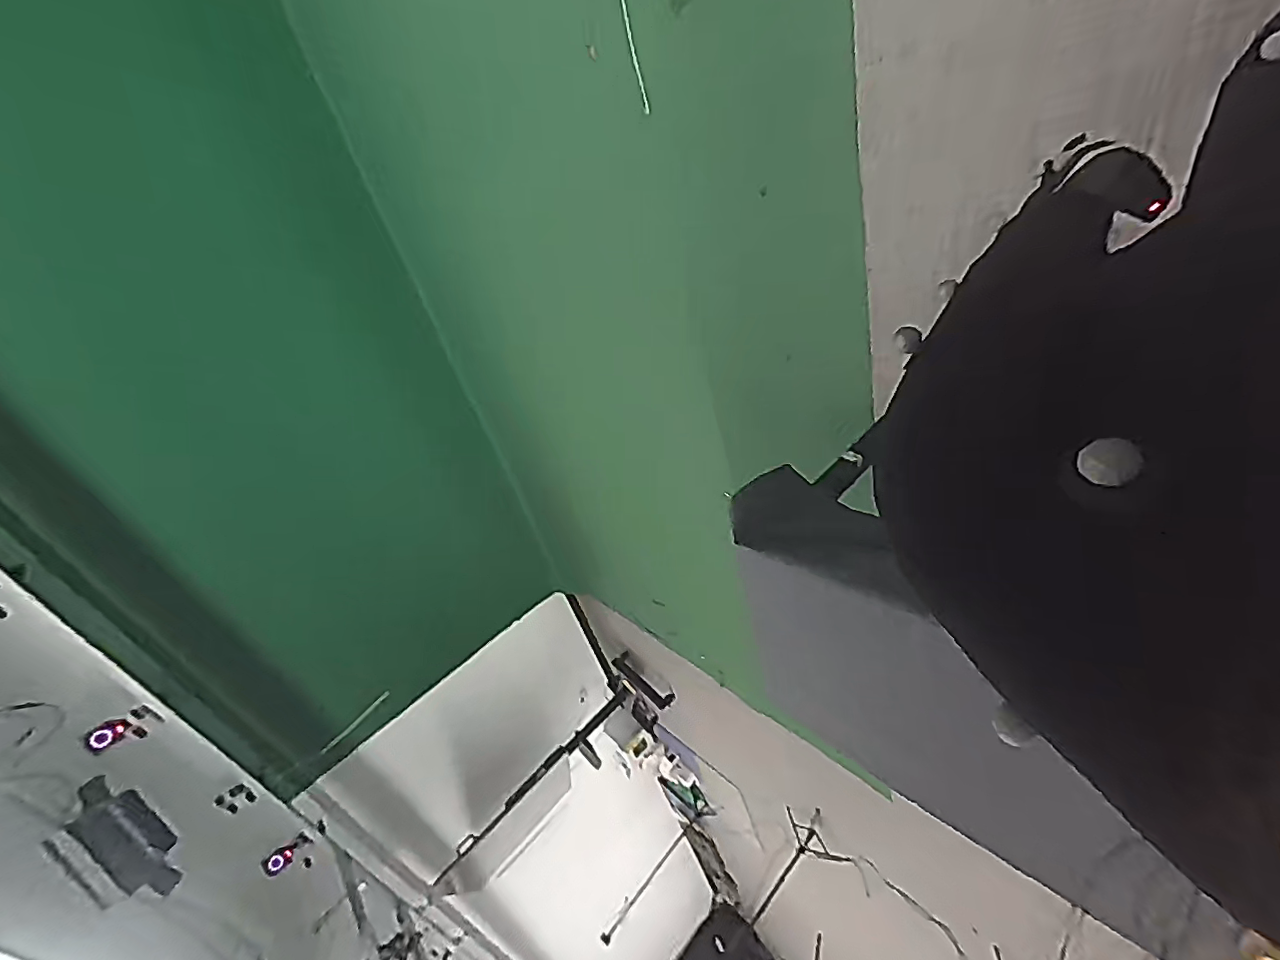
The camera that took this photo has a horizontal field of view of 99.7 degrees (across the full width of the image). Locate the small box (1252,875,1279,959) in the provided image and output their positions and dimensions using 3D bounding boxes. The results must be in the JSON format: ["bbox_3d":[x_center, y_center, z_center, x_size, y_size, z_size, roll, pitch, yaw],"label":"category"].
[{"bbox_3d":[0.792,0.536,0.570,0.179,0.176,0.168,17,137,47],"label":"small box"}]
